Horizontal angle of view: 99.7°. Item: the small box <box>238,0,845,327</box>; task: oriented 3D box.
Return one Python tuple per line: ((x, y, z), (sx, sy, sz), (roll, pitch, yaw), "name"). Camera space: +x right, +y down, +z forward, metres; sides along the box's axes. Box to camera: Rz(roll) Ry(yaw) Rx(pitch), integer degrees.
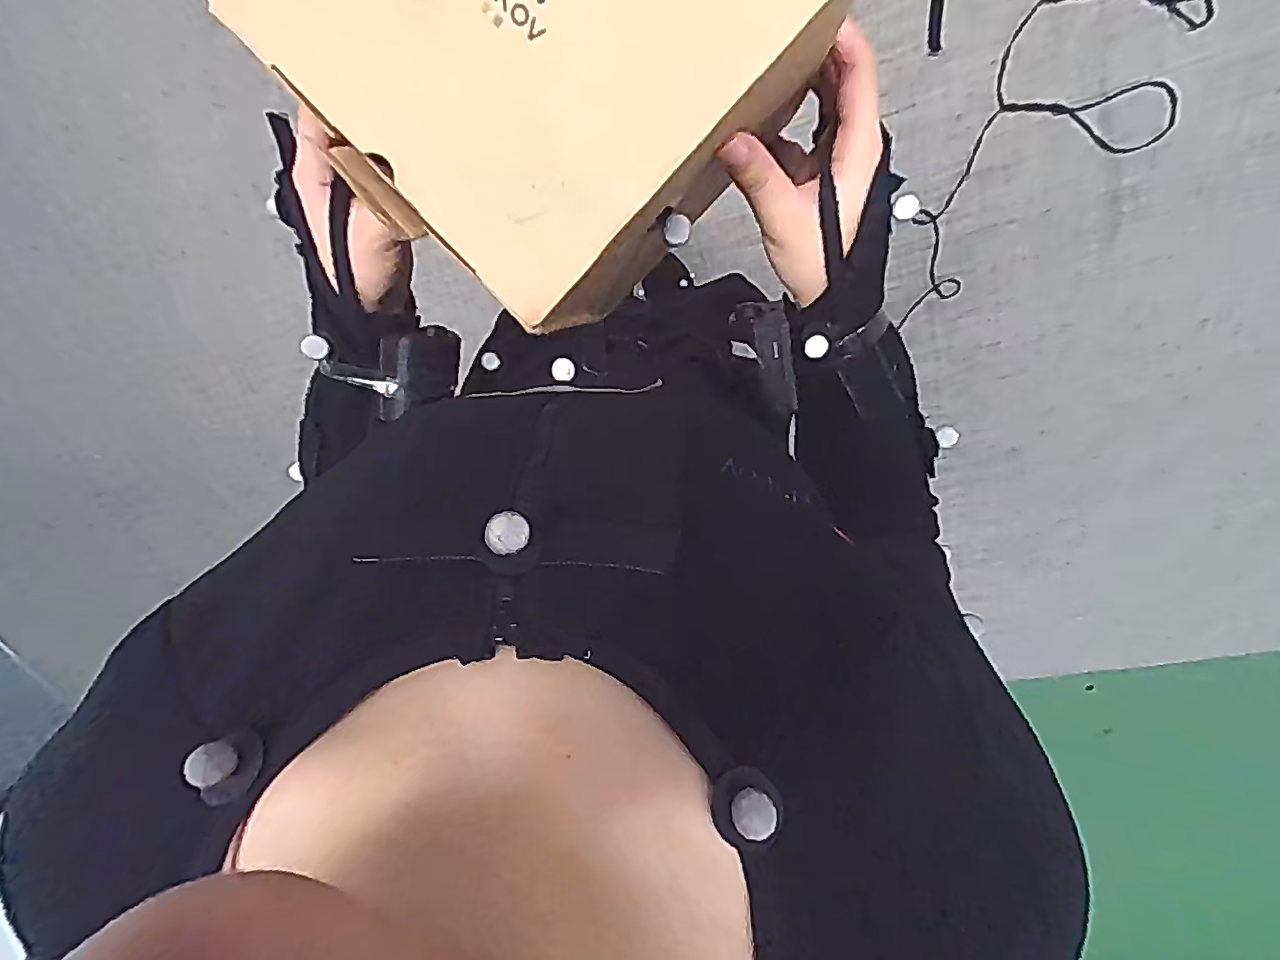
((-0.029, -0.198, 0.268), (0.179, 0.176, 0.168), (-42, 99, 17), "small box")
